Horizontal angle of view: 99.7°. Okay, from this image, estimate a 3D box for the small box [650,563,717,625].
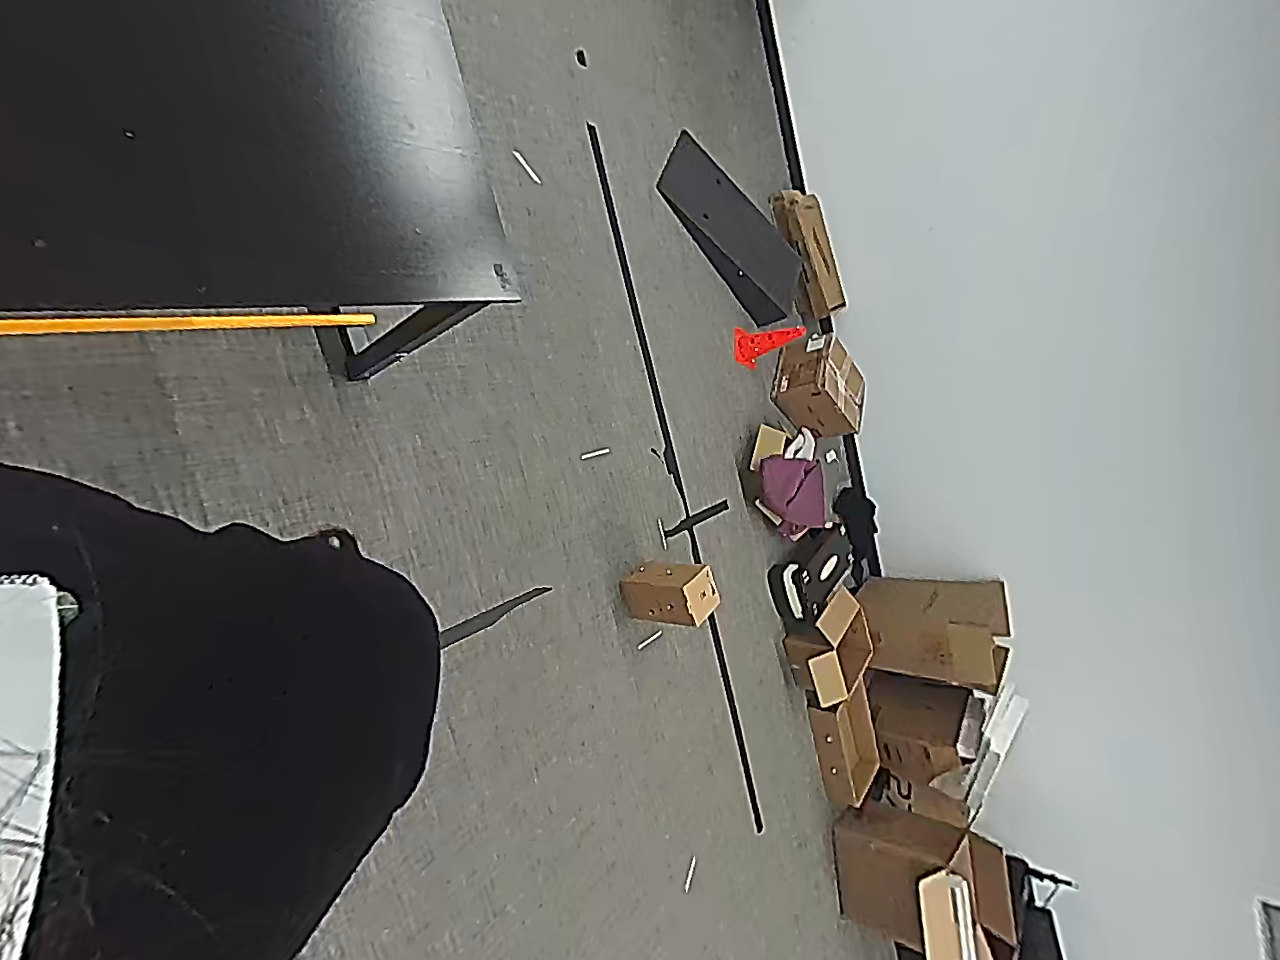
[{"bbox_3d":[0.157,0.422,2.028,0.179,0.176,0.168,-31,107,-44],"label":"small box"}]

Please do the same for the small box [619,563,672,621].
[{"bbox_3d":[0.044,0.437,2.146,0.168,0.176,0.179,-29,106,-45],"label":"small box"}]
